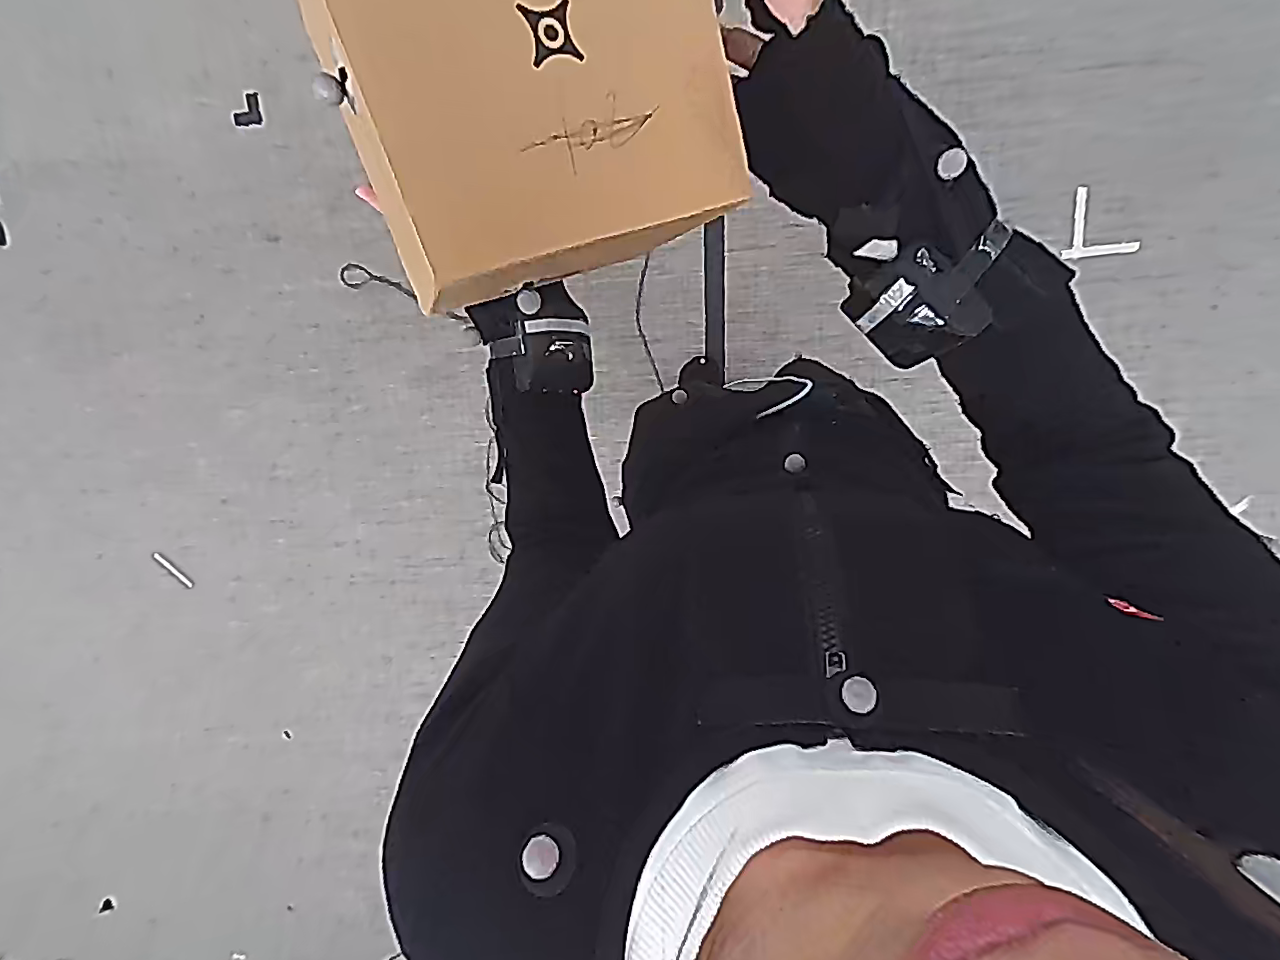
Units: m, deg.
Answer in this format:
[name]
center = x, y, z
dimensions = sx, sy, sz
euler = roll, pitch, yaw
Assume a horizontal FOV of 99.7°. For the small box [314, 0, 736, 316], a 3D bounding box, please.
[small box]
center = -0.074, -0.211, 0.316
dimensions = 0.168, 0.176, 0.179
euler = -23, 108, -17
